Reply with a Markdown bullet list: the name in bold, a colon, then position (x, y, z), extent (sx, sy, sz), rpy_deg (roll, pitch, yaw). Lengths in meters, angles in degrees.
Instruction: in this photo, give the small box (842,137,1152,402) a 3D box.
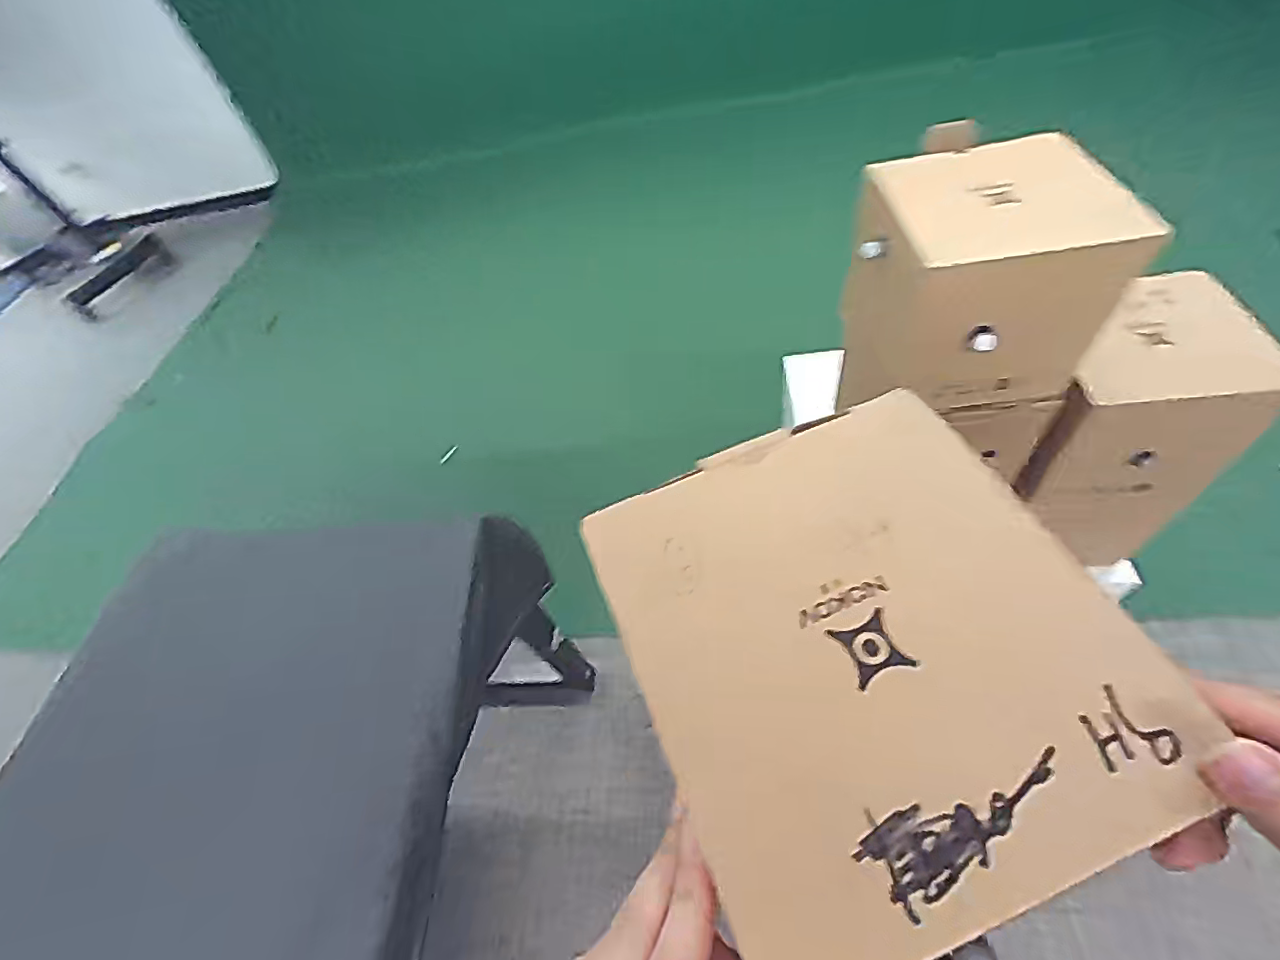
- **small box**: position (0.302, -0.184, 0.511), extent (0.168, 0.176, 0.179), rpy_deg (-6, 53, 6)
